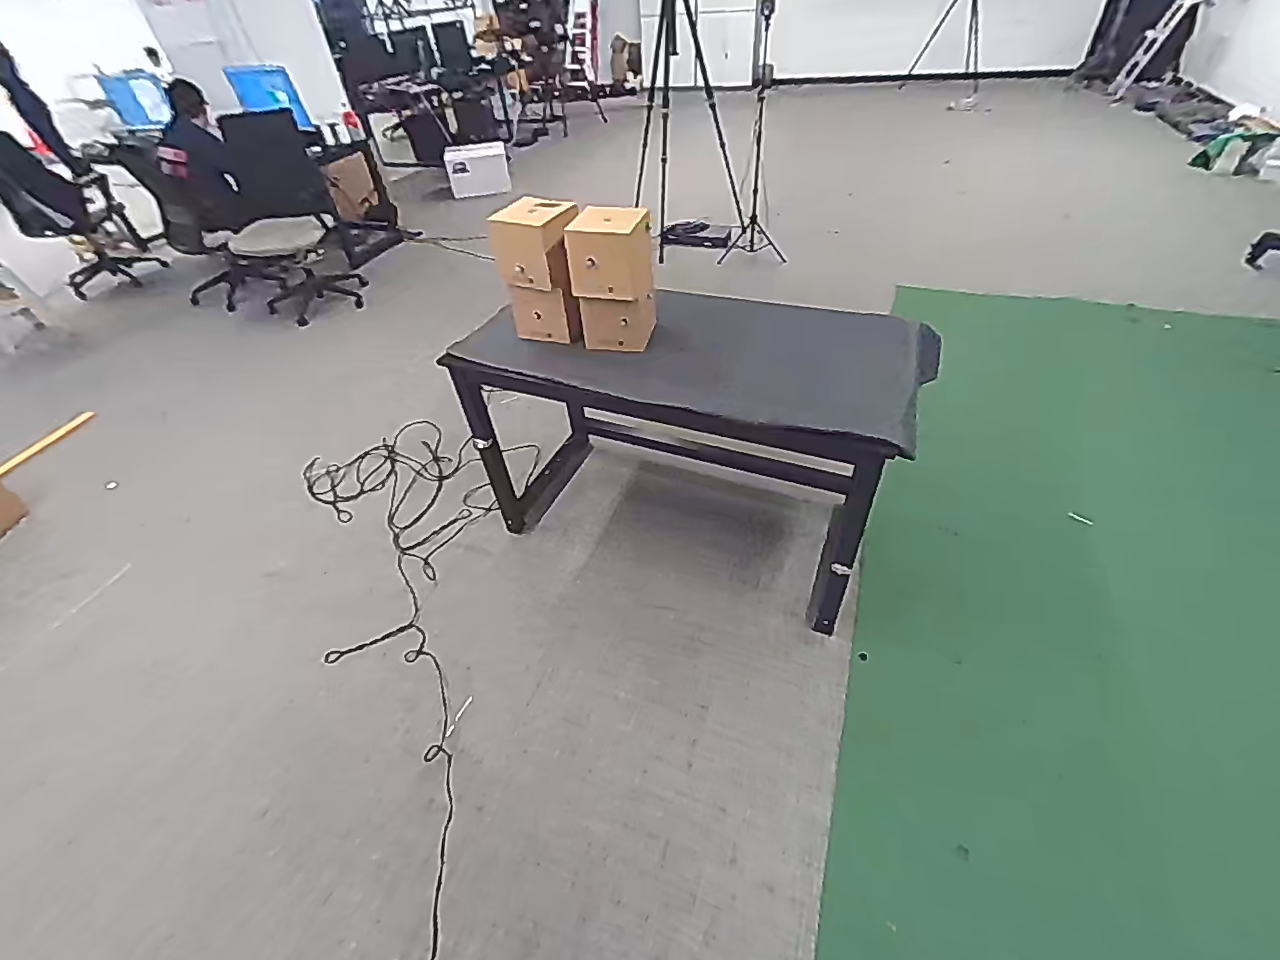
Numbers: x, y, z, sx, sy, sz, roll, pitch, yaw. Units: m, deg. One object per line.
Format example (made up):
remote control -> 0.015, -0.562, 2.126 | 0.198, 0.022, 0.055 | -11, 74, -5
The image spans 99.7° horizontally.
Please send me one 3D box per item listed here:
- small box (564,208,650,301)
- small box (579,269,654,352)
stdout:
small box -> -0.073, -0.567, 1.362 | 0.168, 0.176, 0.179 | 9, 45, 13
small box -> -0.056, -0.469, 1.492 | 0.168, 0.176, 0.179 | 7, 44, 11
